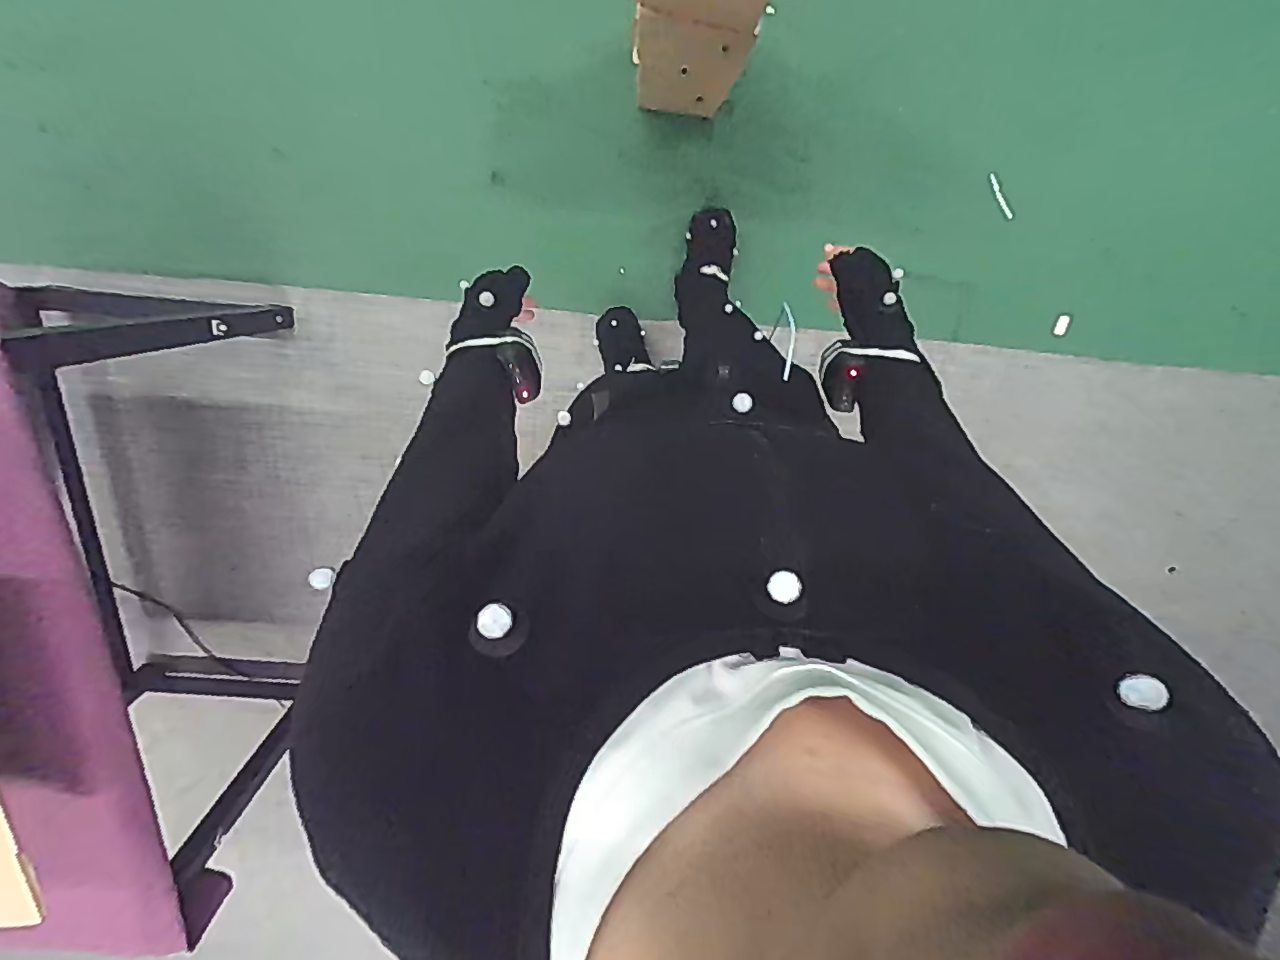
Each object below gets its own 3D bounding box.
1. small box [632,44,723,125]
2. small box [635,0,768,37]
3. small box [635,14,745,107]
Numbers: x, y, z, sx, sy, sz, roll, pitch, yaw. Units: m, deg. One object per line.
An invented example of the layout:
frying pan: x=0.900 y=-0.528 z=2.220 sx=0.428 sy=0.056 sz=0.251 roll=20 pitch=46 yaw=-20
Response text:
small box: x=0.082 y=-0.854 z=1.112 sx=0.179 sy=0.176 sz=0.168 roll=6 pitch=110 yaw=-5
small box: x=0.089 y=-0.678 z=0.653 sx=0.179 sy=0.176 sz=0.168 roll=8 pitch=110 yaw=-4
small box: x=0.088 y=-0.790 z=0.962 sx=0.179 sy=0.176 sz=0.168 roll=7 pitch=110 yaw=-4
